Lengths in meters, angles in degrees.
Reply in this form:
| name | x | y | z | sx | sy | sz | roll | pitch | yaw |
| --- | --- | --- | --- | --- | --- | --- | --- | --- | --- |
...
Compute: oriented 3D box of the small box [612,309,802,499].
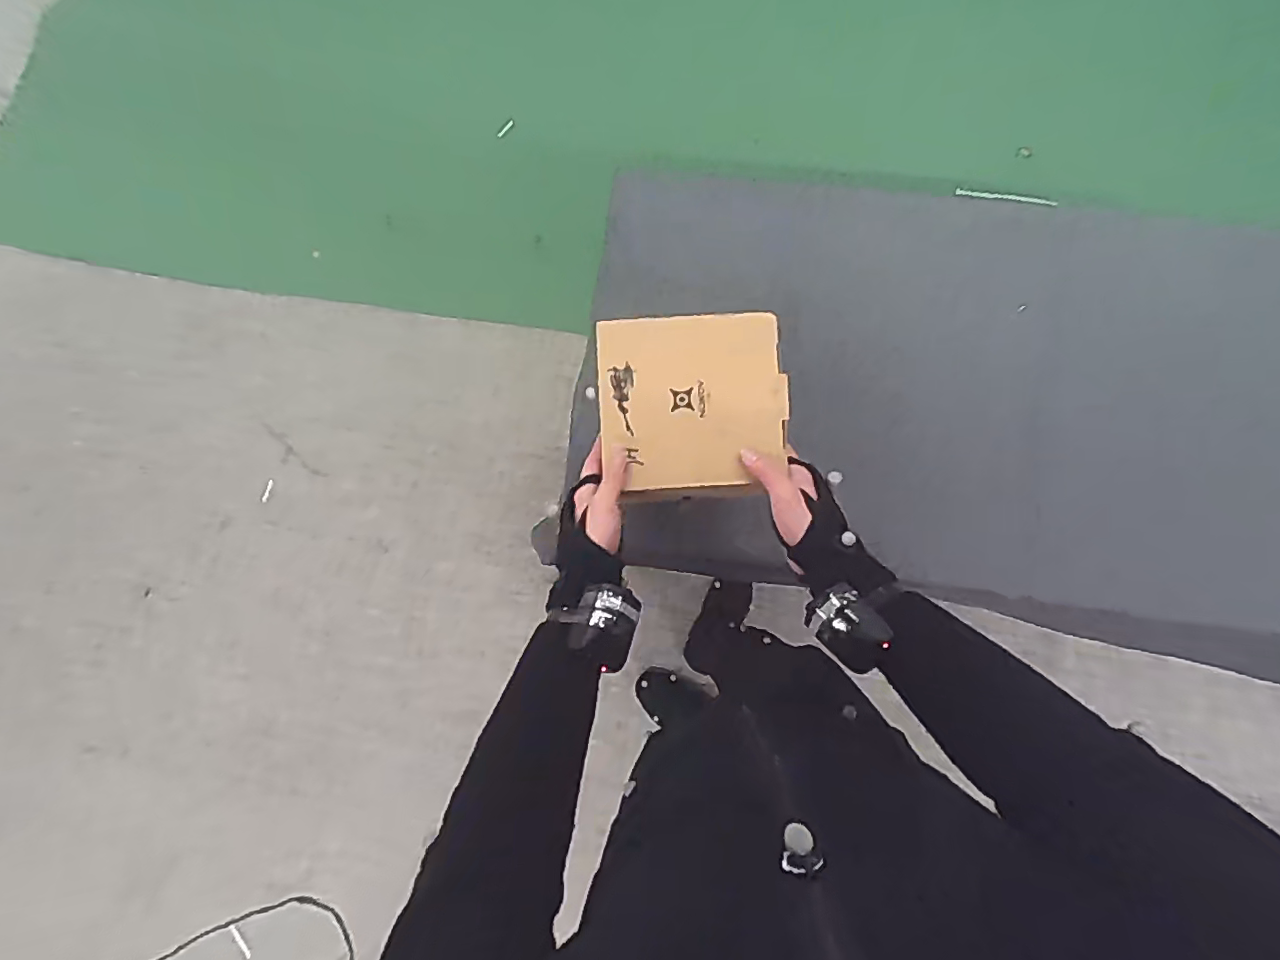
| name | x | y | z | sx | sy | sz | roll | pitch | yaw |
| --- | --- | --- | --- | --- | --- | --- | --- | --- | --- |
| small box | 0.059 | -0.070 | 0.581 | 0.179 | 0.176 | 0.168 | -1 | 82 | -1 |
